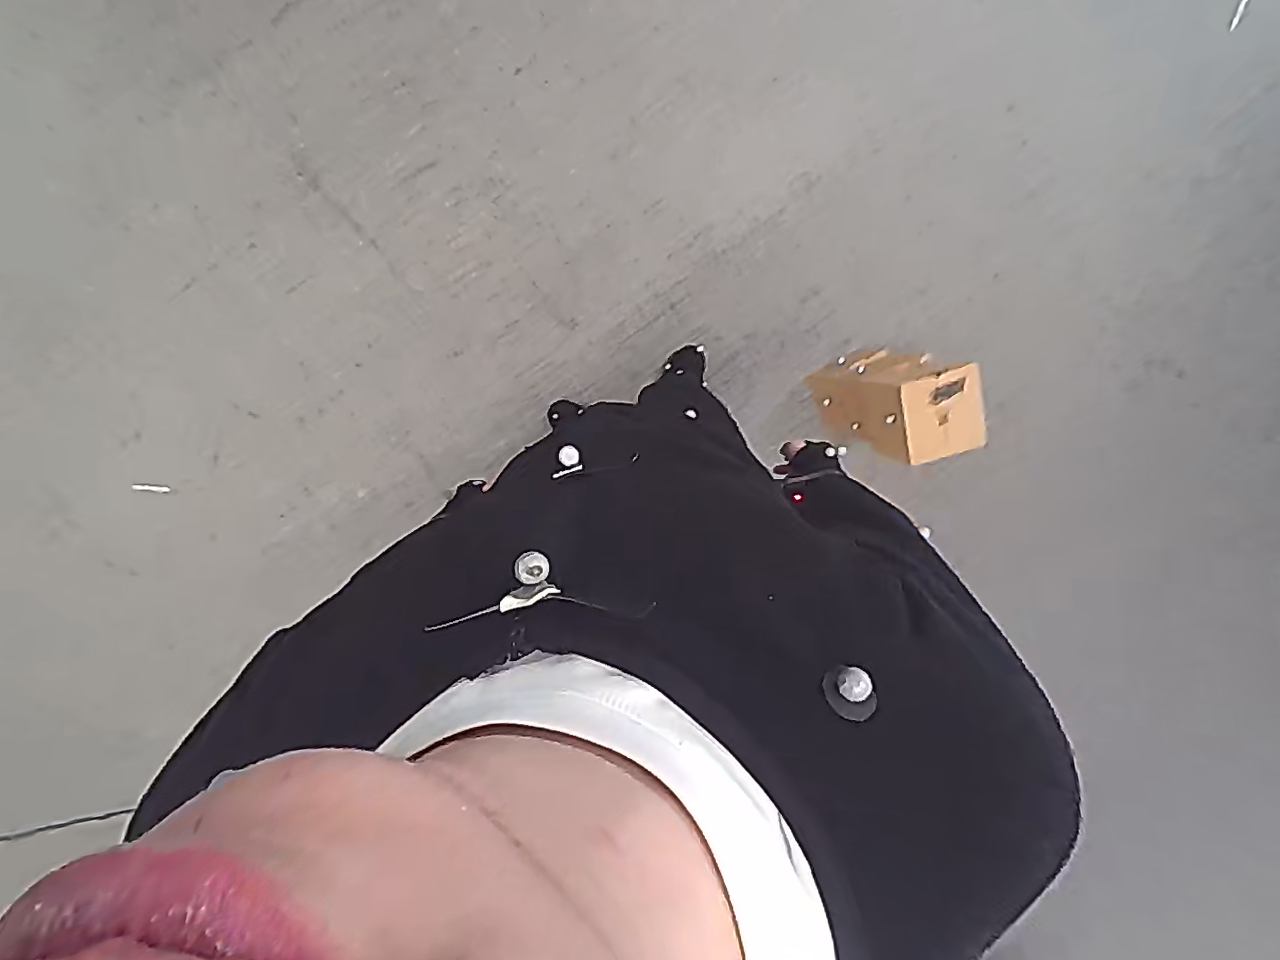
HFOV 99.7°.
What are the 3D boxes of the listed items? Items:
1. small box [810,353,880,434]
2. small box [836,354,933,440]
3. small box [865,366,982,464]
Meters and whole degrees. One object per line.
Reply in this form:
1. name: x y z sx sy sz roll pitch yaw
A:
1. small box: 0.600 -0.230 1.482 0.168 0.176 0.179 32 96 -12
2. small box: 0.605 -0.201 1.329 0.179 0.176 0.168 -22 104 0
3. small box: 0.604 -0.147 1.171 0.168 0.176 0.179 -11 104 0
